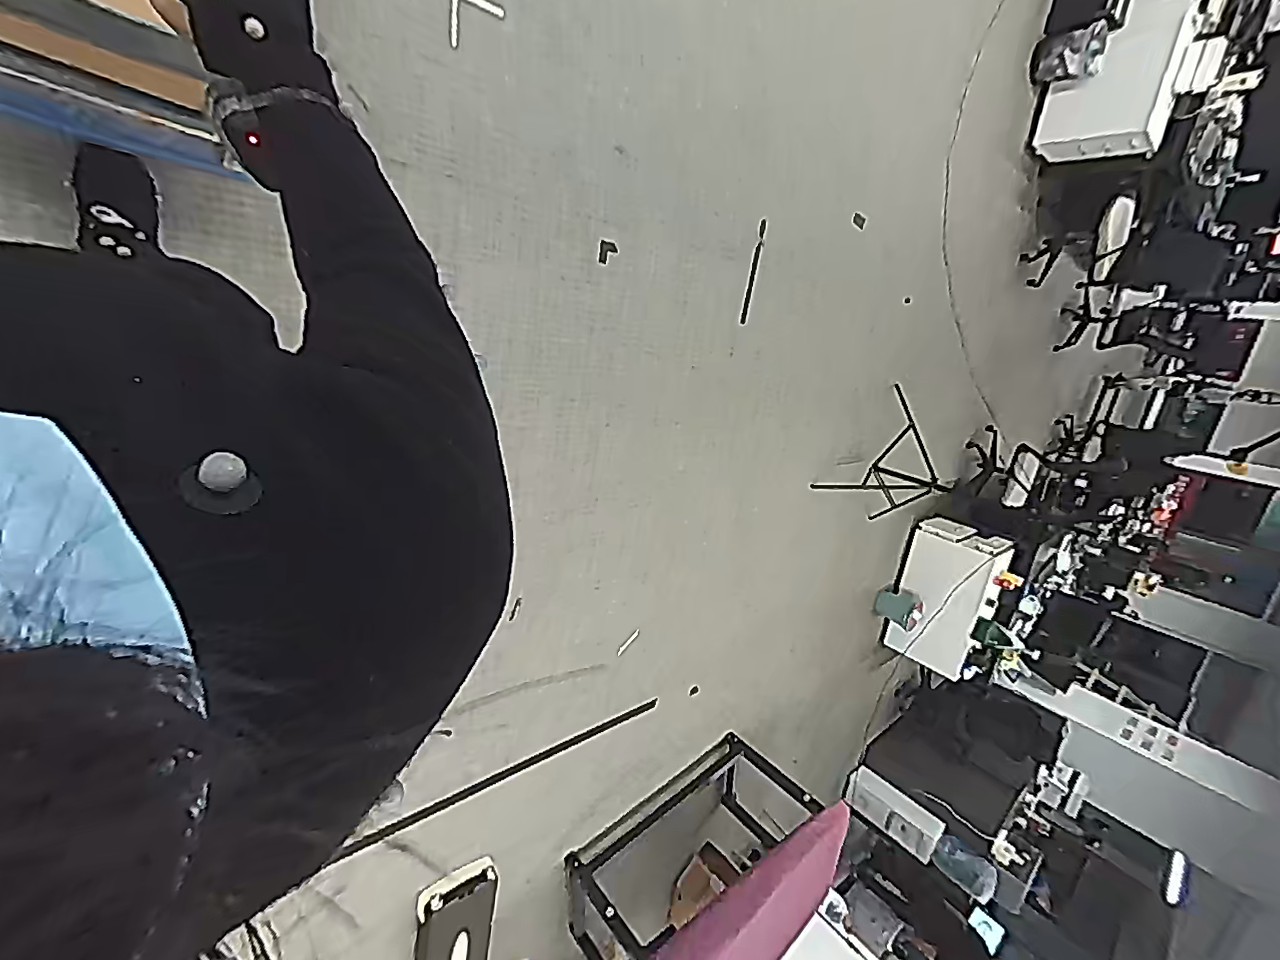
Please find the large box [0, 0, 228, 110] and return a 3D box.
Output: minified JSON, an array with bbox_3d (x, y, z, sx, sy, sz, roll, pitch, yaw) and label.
[{"bbox_3d":[-0.758,-0.722,0.642,0.408,0.320,0.320,0,107,-44],"label":"large box"}]
